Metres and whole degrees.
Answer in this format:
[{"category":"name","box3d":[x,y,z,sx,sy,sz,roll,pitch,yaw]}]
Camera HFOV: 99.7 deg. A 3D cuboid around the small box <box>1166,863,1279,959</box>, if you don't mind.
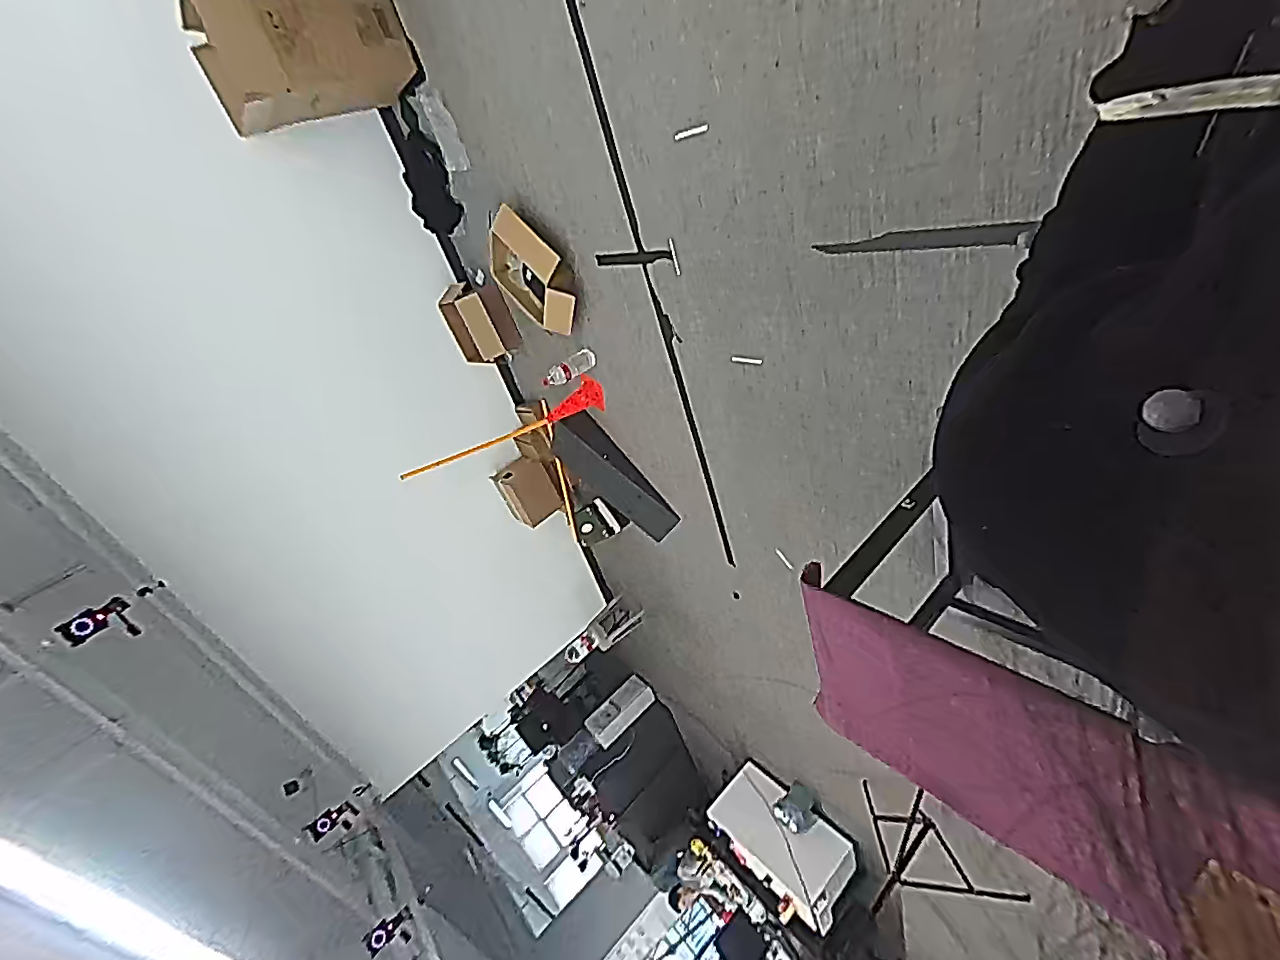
[{"category":"small box","box3d":[0.978,0.764,0.860,0.168,0.176,0.179,23,141,47]}]
